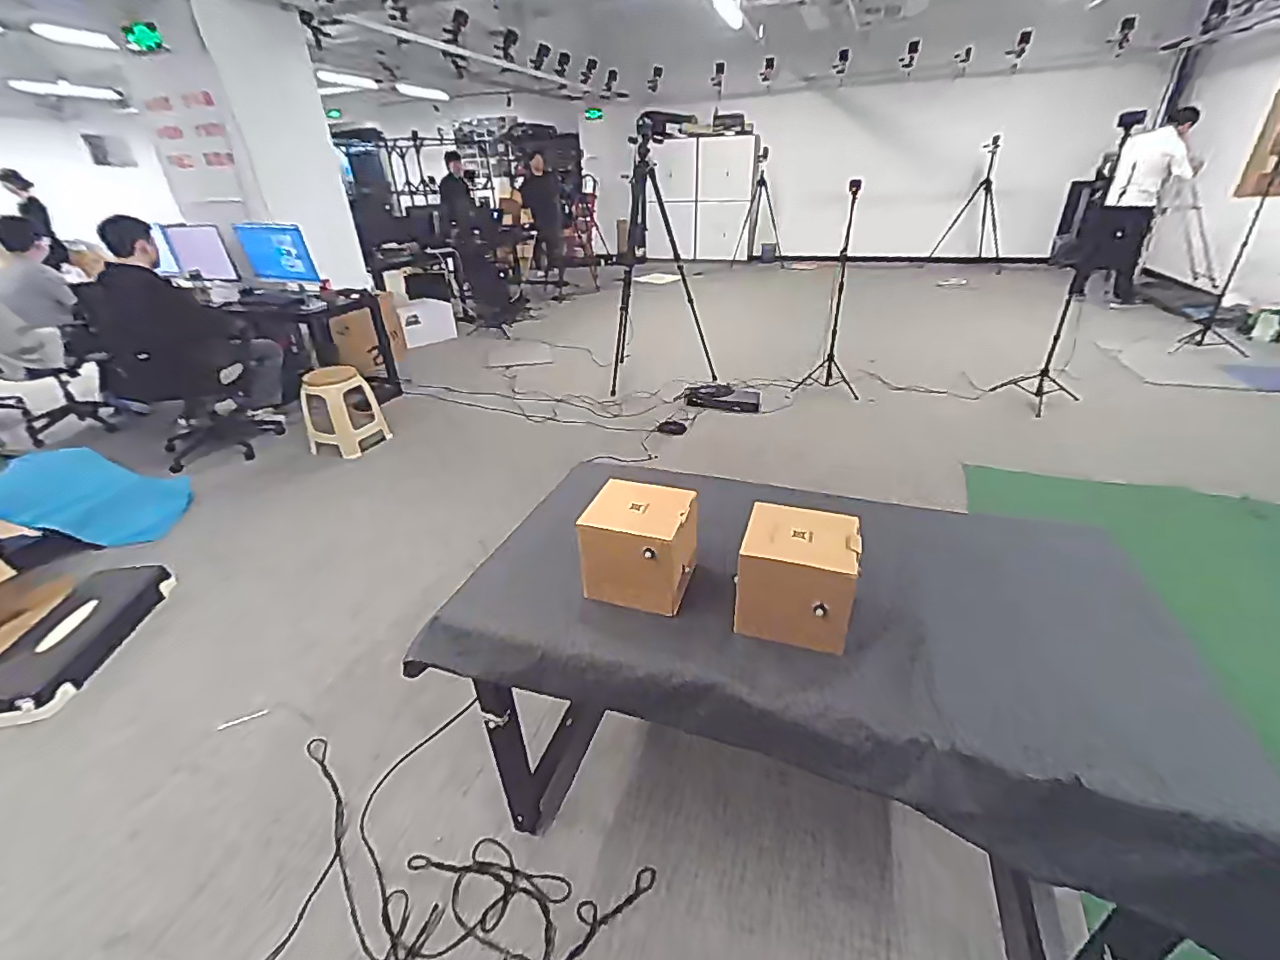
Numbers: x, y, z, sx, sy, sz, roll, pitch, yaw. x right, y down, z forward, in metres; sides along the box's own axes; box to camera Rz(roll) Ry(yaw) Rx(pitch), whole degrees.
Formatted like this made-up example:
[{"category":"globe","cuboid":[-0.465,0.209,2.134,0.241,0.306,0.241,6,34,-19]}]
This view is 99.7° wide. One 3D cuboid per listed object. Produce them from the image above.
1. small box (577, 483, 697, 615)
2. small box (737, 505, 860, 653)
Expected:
[{"category":"small box","cuboid":[0.002,0.125,0.998,0.179,0.176,0.168,8,30,17]},{"category":"small box","cuboid":[0.264,0.163,0.905,0.179,0.176,0.168,6,29,19]}]
